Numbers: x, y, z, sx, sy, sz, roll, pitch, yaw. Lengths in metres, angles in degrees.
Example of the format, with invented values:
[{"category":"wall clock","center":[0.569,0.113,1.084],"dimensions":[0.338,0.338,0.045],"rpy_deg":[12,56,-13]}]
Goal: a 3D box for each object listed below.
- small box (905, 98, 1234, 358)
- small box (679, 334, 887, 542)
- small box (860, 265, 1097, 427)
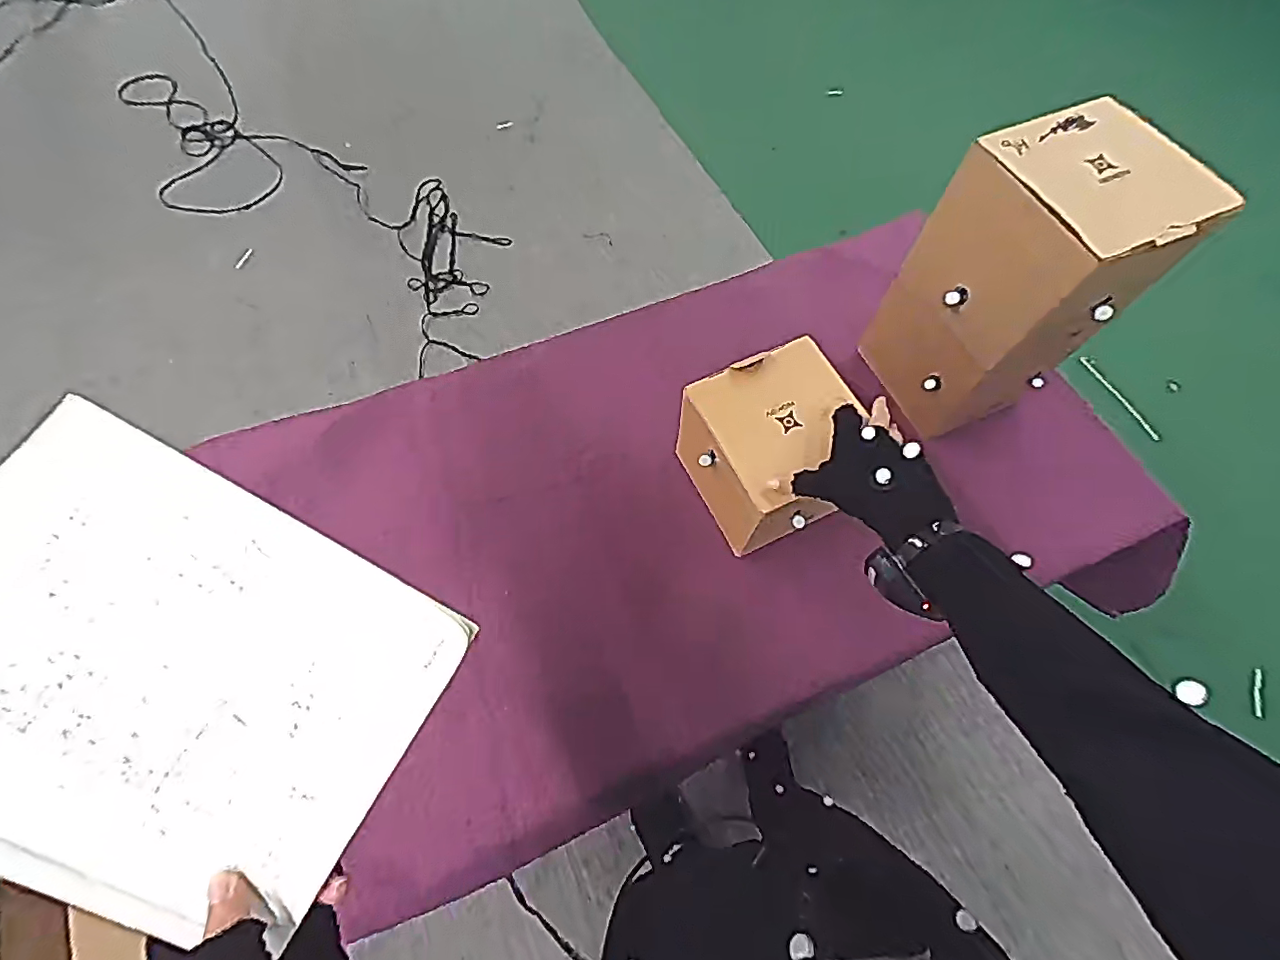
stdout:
[{"category":"small box","center":[0.429,-0.254,0.578],"dimensions":[0.168,0.176,0.179],"rpy_deg":[-21,69,-9]},{"category":"small box","center":[0.159,-0.039,0.667],"dimensions":[0.168,0.176,0.179],"rpy_deg":[-24,68,-9]},{"category":"small box","center":[0.435,-0.191,0.730],"dimensions":[0.168,0.176,0.179],"rpy_deg":[-21,68,-9]}]
